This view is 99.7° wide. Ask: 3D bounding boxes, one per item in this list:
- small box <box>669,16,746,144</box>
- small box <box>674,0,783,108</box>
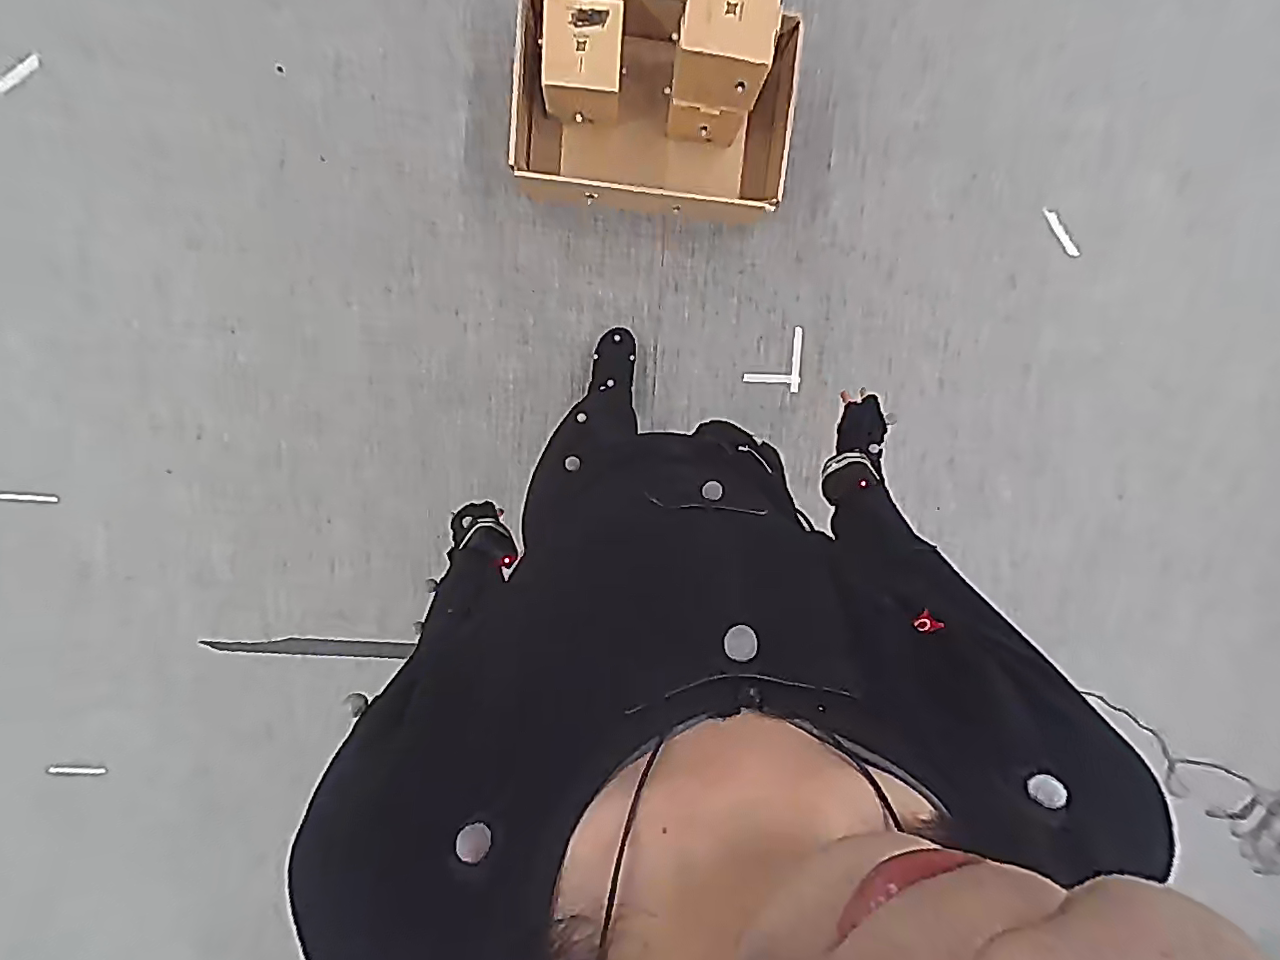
[{"bbox_3d":[0.158,-0.896,1.229,0.168,0.176,0.179,7,101,-2],"label":"small box"},{"bbox_3d":[0.170,-0.871,1.066,0.179,0.176,0.168,7,98,-3],"label":"small box"}]
